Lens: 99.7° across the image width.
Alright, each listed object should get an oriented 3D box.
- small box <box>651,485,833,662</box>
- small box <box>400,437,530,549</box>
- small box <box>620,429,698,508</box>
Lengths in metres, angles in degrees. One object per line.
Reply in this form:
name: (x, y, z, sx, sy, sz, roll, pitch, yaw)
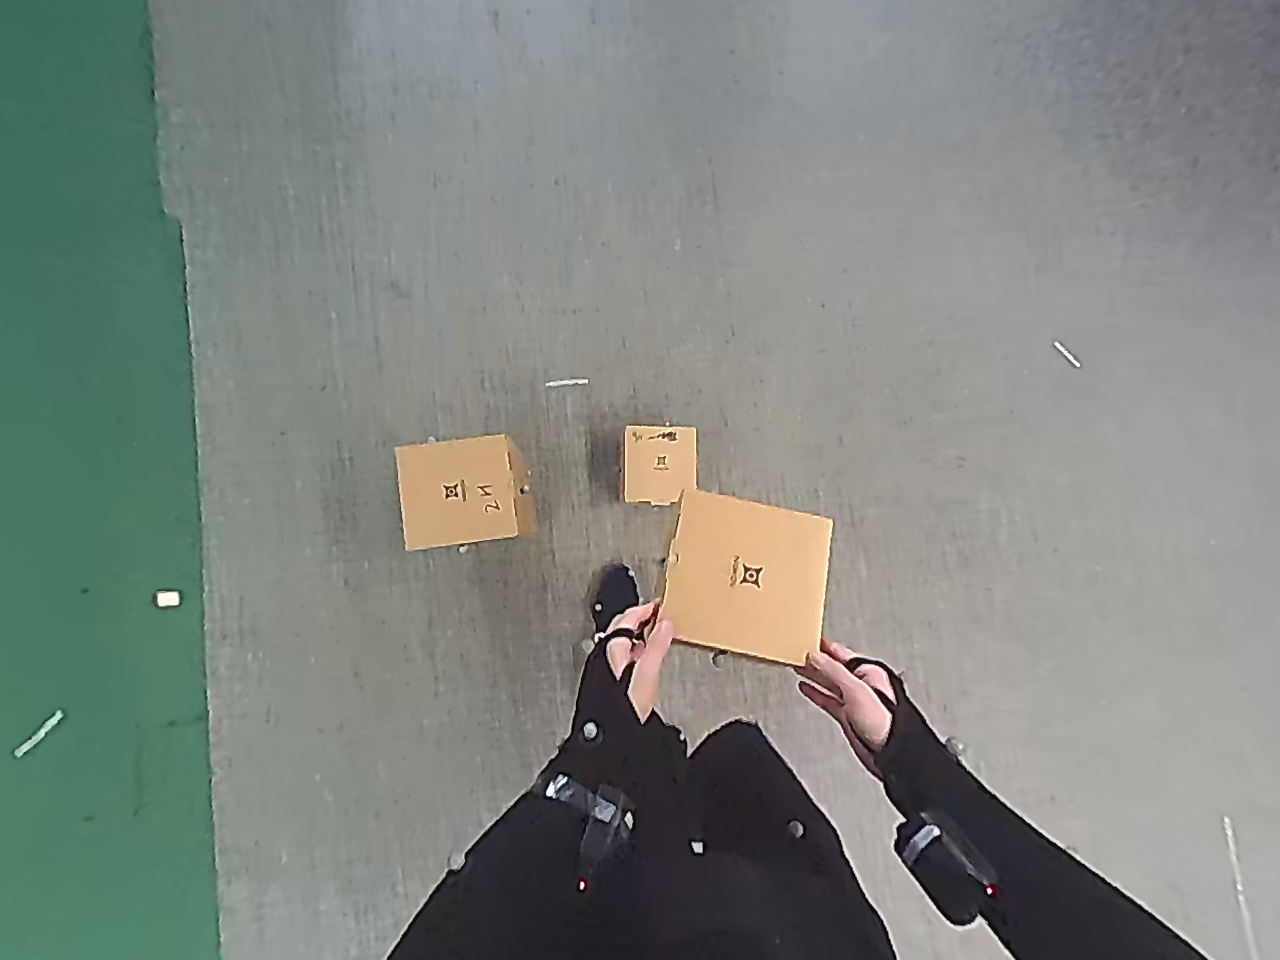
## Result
small box: (0.116, 0.120, 0.671, 0.179, 0.176, 0.168, 12, 73, 2)
small box: (-0.291, 0.028, 0.930, 0.179, 0.176, 0.168, -7, 85, -8)
small box: (0.041, -0.020, 1.303, 0.168, 0.176, 0.179, 1, 85, -7)
